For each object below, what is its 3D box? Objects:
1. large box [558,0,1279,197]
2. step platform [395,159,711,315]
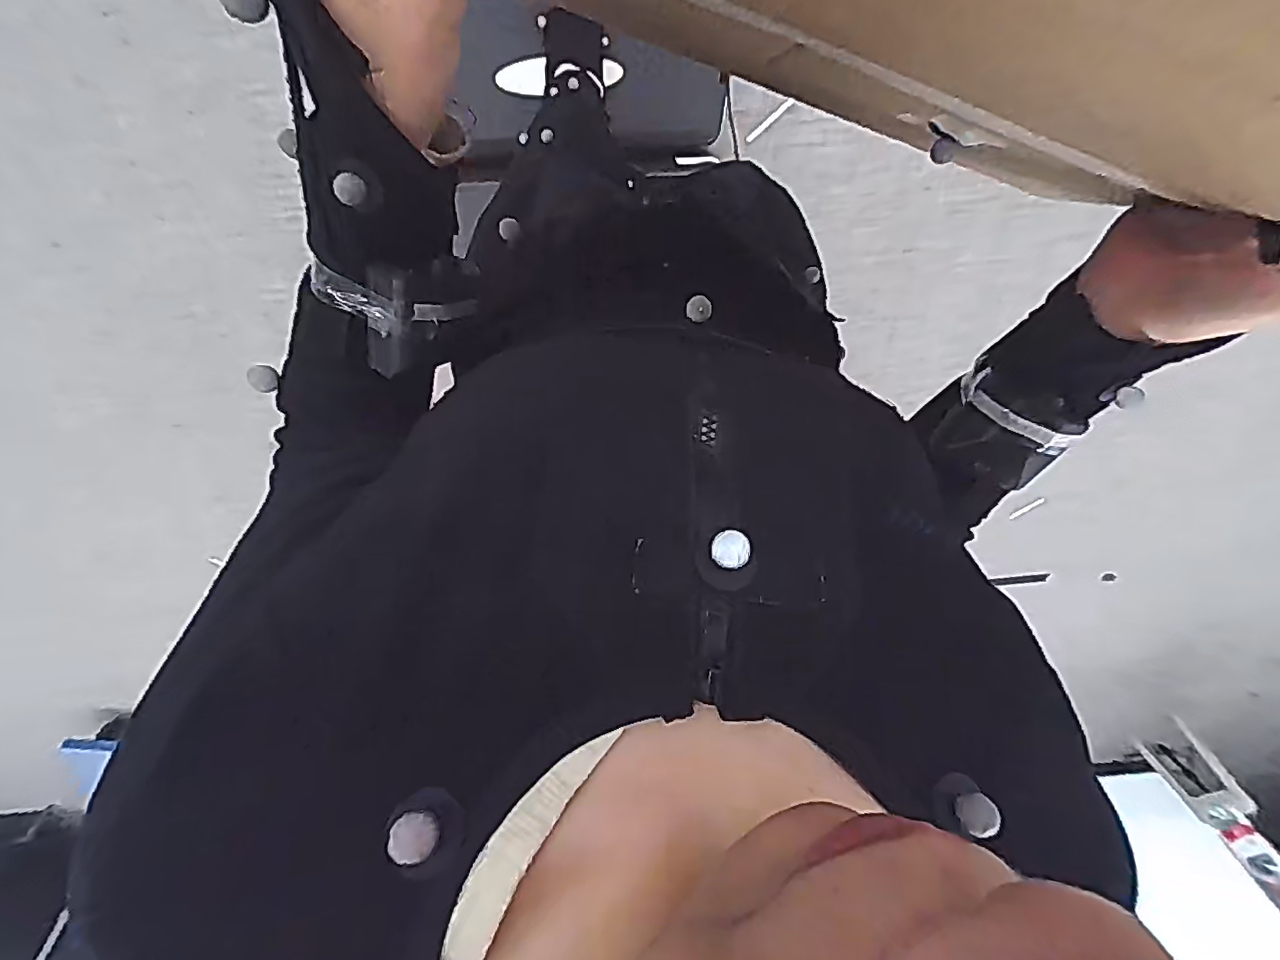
[{"bbox_3d":[0.131,-0.306,0.144,0.408,0.320,0.320,12,122,-9],"label":"large box"},{"bbox_3d":[-0.181,-0.544,1.232,0.684,0.204,0.286,0,128,-4],"label":"step platform"}]
